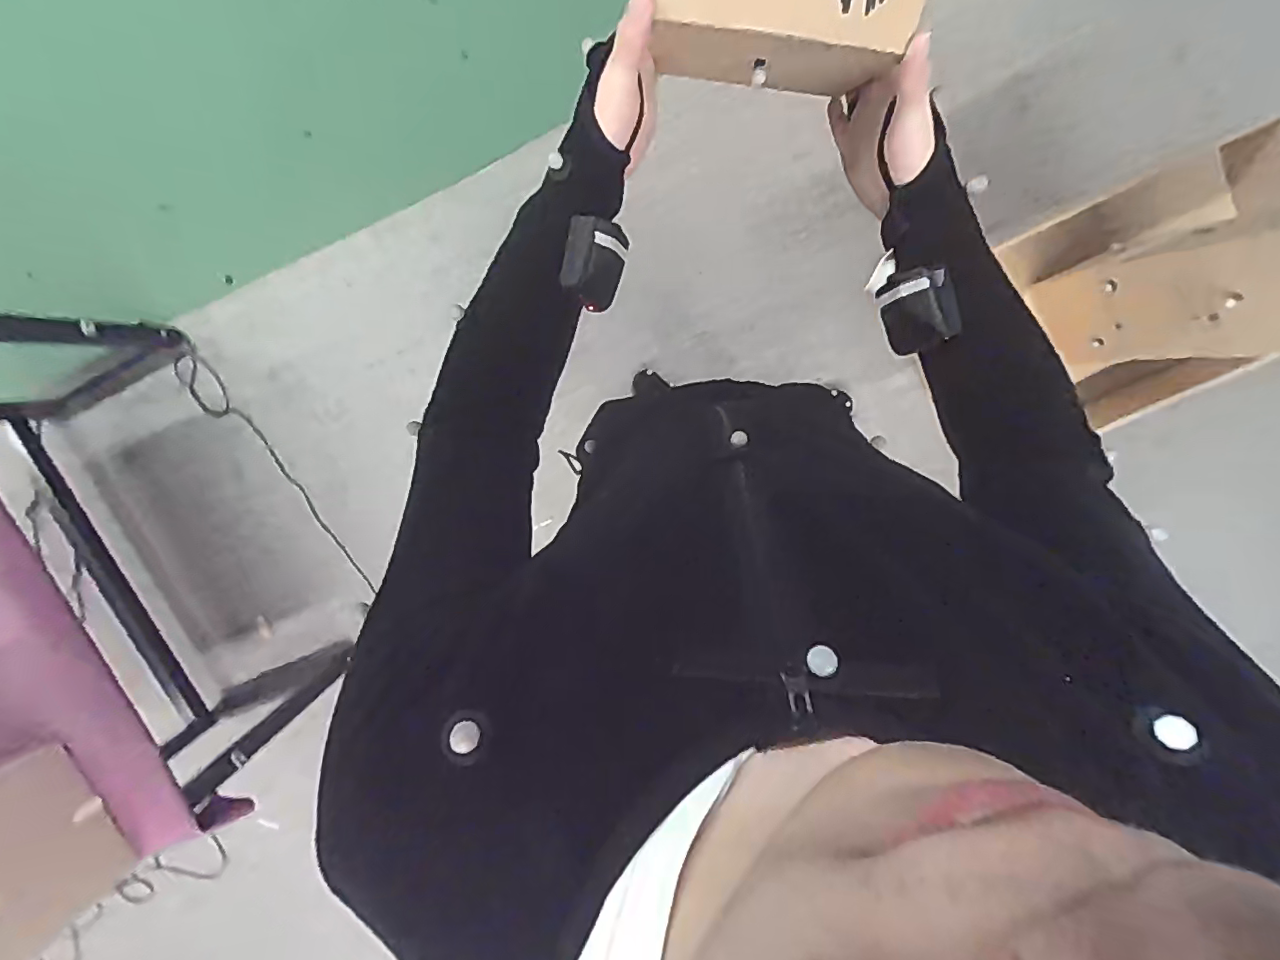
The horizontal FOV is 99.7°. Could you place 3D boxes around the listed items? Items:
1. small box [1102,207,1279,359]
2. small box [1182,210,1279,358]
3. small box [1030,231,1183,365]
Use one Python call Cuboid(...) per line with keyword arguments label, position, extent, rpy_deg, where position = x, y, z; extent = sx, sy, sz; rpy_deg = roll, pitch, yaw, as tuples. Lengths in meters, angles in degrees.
Cuboid(label="small box", position=(0.883, -0.299, 0.854), extent=(0.179, 0.176, 0.168), rpy_deg=(-22, 99, 5))
Cuboid(label="small box", position=(0.875, -0.268, 0.692), extent=(0.179, 0.176, 0.168), rpy_deg=(-24, 98, 6))
Cuboid(label="small box", position=(0.884, -0.328, 1.016), extent=(0.168, 0.176, 0.179), rpy_deg=(-25, 99, 6))
